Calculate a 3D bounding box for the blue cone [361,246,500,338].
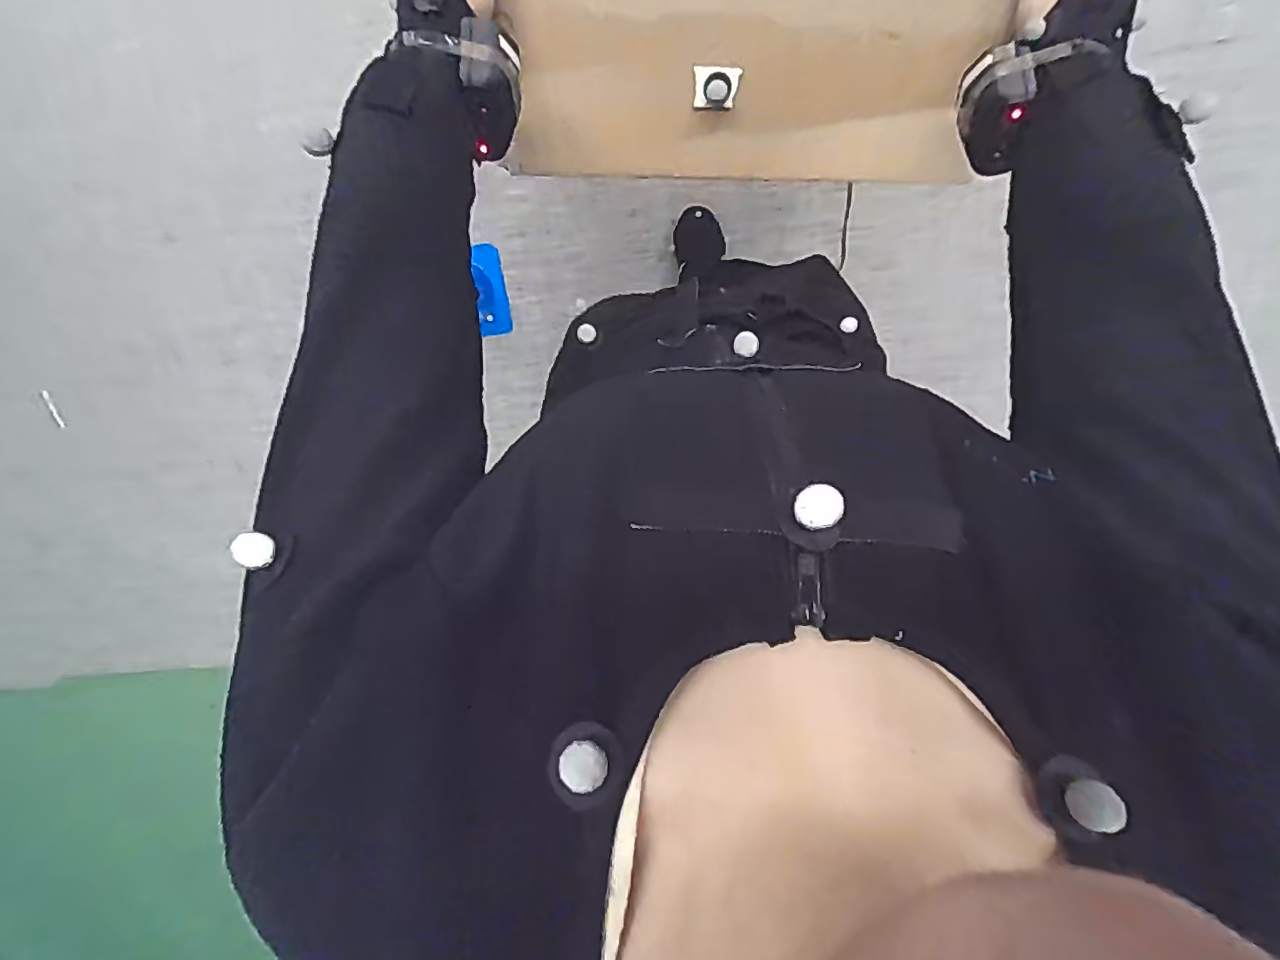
[{"bbox_3d":[-0.433,-0.369,1.086,0.192,0.380,0.193,-4,111,6],"label":"blue cone"}]
